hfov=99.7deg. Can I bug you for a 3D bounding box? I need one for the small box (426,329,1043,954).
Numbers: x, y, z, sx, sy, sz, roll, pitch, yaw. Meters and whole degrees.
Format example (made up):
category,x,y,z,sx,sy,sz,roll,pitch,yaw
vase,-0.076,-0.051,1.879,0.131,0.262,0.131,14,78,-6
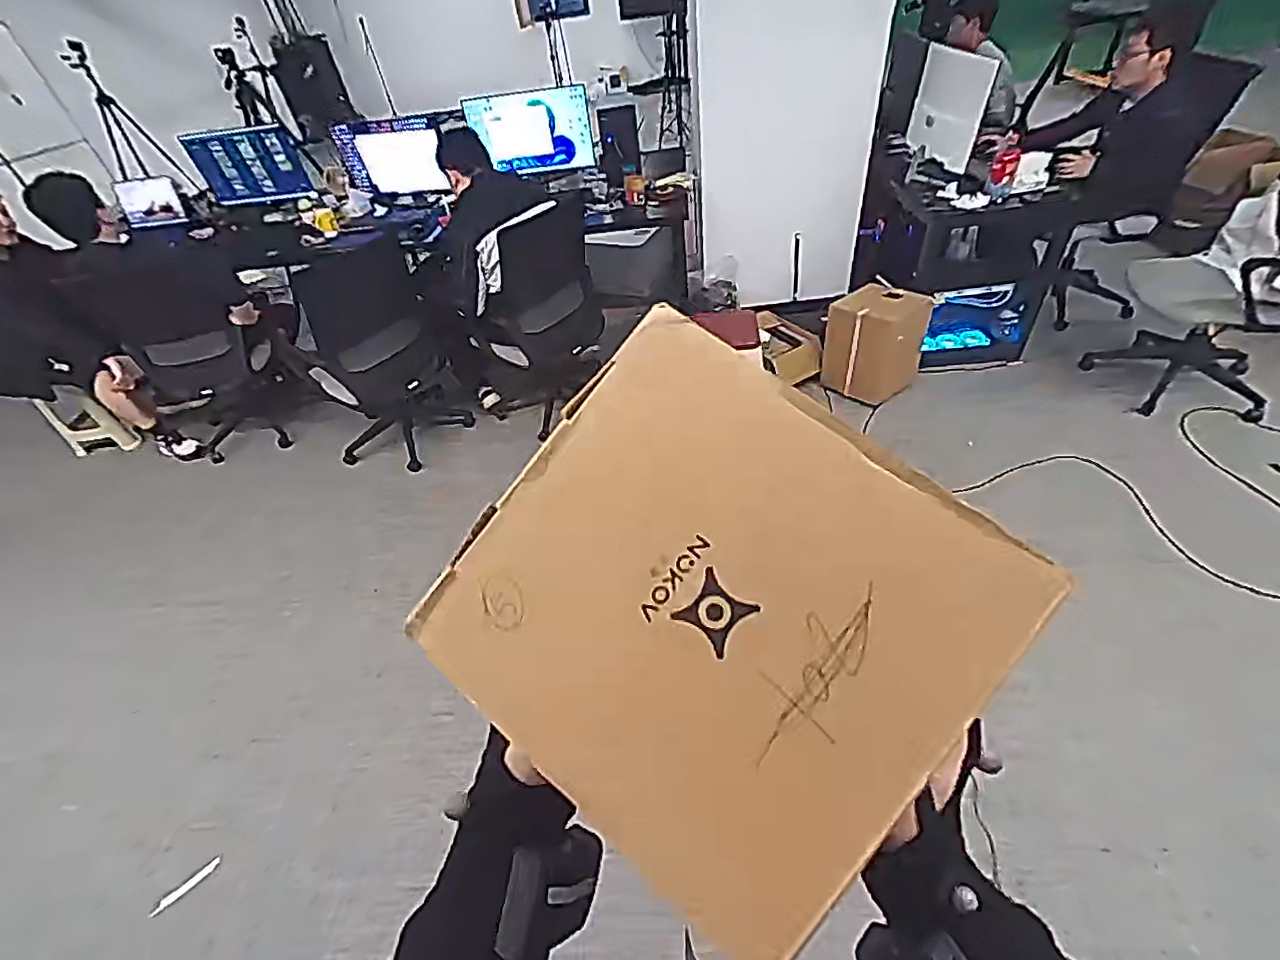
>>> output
category,x,y,z,sx,sy,sz,roll,pitch,yaw
small box,0.039,0.062,0.282,0.179,0.176,0.168,37,89,14
